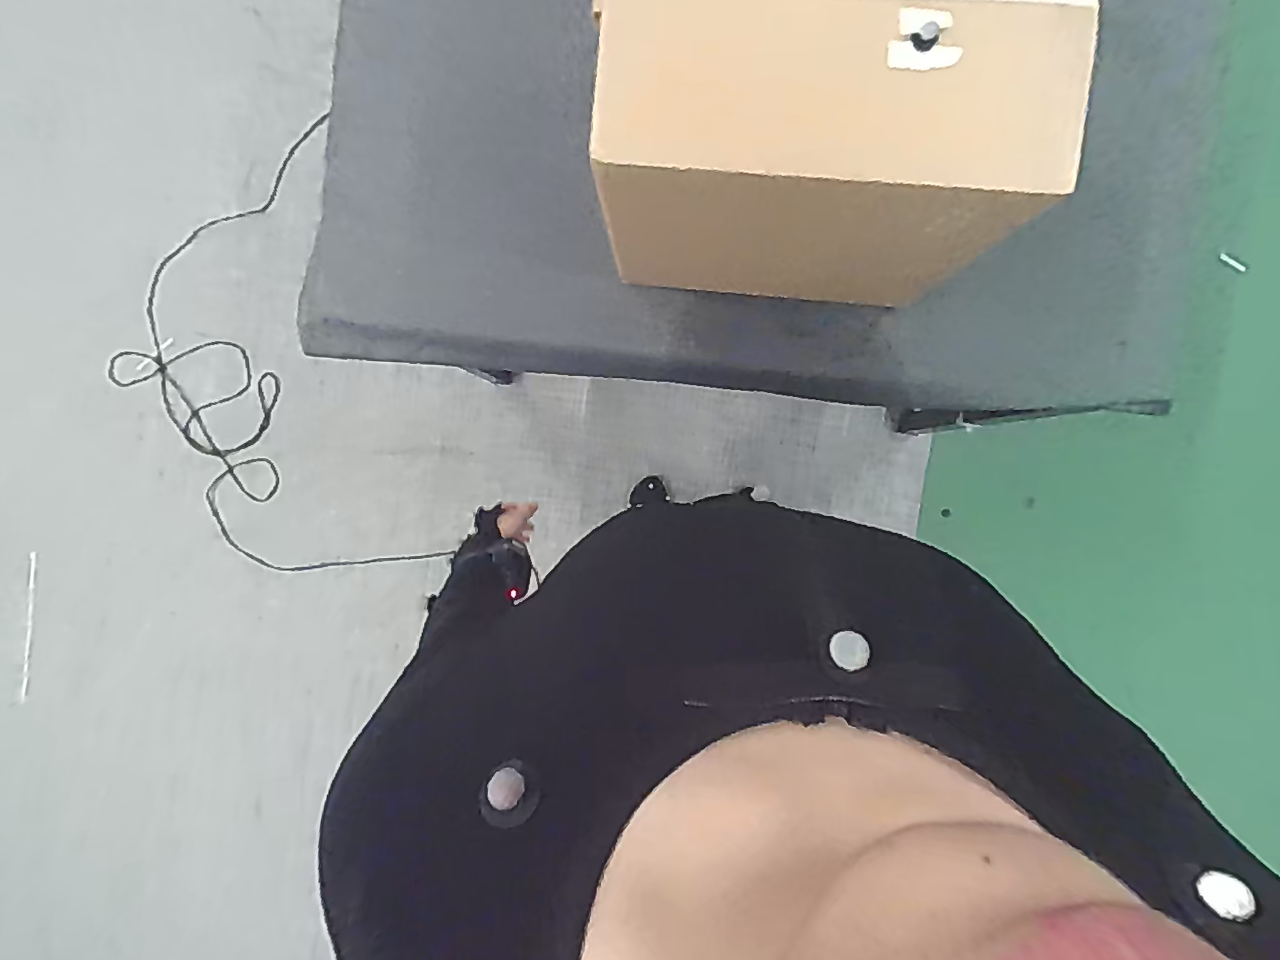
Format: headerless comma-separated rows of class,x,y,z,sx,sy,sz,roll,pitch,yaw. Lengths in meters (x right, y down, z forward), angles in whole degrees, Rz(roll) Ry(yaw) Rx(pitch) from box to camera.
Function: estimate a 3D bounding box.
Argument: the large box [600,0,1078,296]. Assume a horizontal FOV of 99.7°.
large box,0.177,-0.419,0.614,0.408,0.320,0.320,5,92,3
